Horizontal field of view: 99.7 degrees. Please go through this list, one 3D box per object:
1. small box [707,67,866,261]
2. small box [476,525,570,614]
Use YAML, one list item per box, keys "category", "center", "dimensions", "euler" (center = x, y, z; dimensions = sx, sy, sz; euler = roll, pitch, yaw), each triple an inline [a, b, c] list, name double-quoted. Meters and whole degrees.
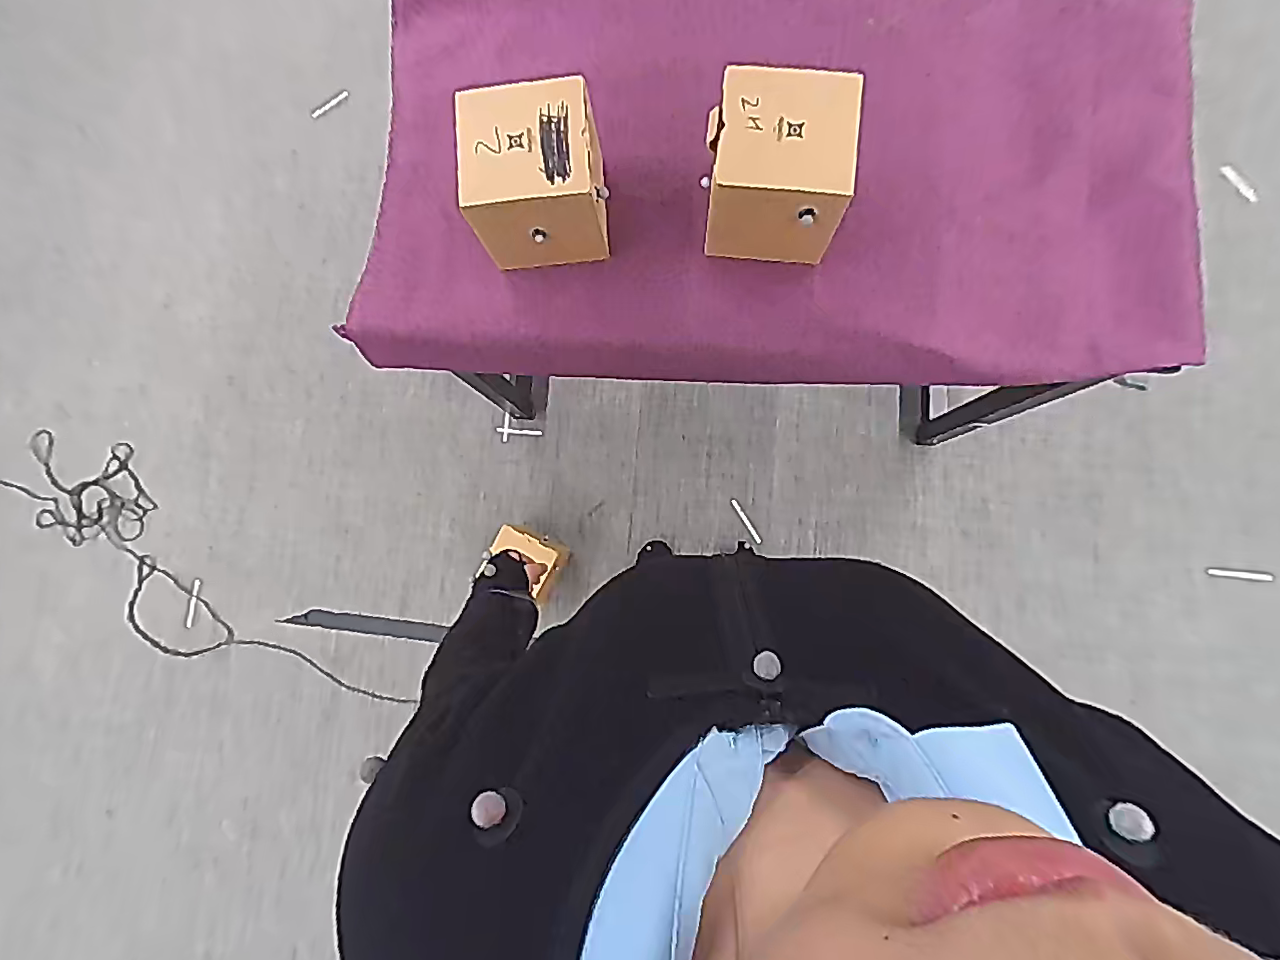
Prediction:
- category: "small box"
  center: [0.193, -0.427, 0.753]
  dimensions: [0.179, 0.176, 0.168]
  euler: [6, 83, 5]
- category: "small box"
  center: [-0.306, 0.236, 1.455]
  dimensions: [0.168, 0.176, 0.179]
  euler: [27, 86, 6]
